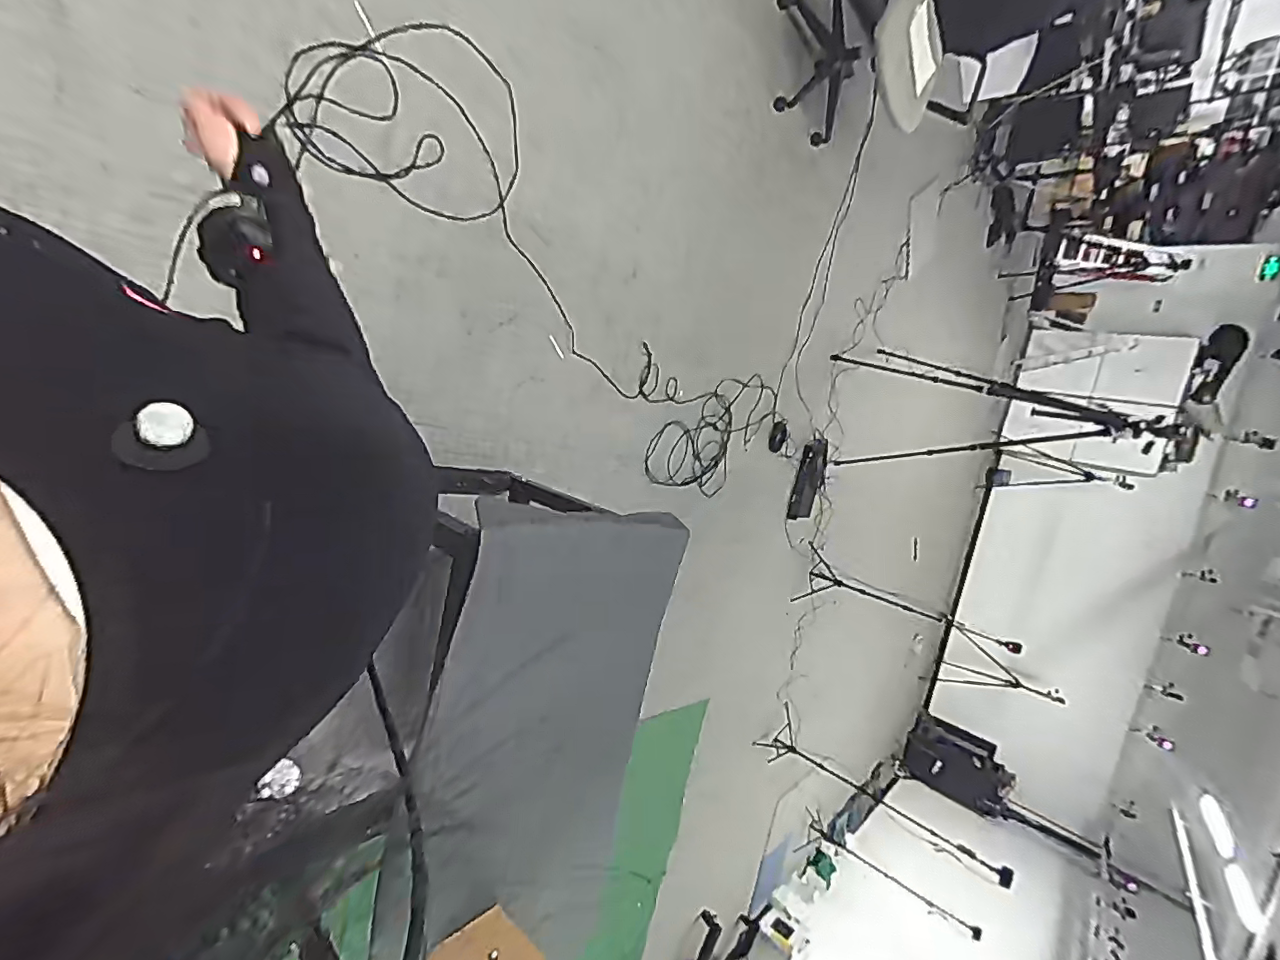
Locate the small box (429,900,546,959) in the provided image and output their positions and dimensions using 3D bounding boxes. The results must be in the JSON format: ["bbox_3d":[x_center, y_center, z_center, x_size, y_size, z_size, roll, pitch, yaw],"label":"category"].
[{"bbox_3d":[-0.320,1.010,1.083,0.179,0.176,0.168,5,99,-53],"label":"small box"}]
